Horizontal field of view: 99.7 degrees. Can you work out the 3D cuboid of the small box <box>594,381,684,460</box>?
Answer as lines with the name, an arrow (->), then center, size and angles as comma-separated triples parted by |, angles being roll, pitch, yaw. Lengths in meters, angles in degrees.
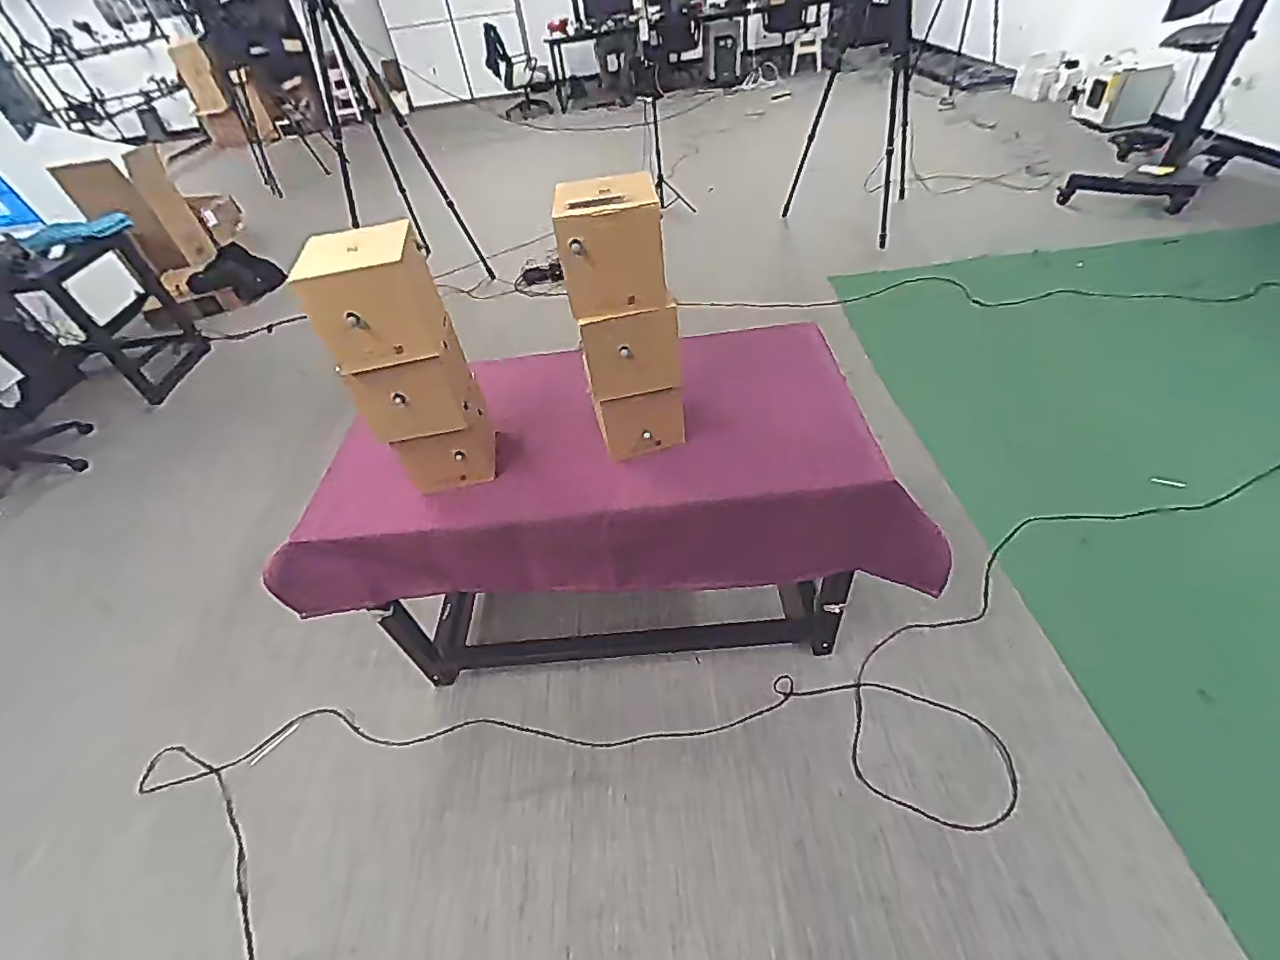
small box -> -0.009, -0.172, 1.162 | 0.168, 0.176, 0.179 | -16, 45, -5

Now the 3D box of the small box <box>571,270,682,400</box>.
small box -> -0.025, -0.274, 1.032 | 0.179, 0.176, 0.168 | -12, 45, -2

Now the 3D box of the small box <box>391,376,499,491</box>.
small box -> -0.407, -0.093, 1.159 | 0.168, 0.176, 0.179 | -11, 44, -2

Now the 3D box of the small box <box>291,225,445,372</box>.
small box -> -0.437, -0.297, 0.904 | 0.168, 0.176, 0.179 | -14, 44, -5

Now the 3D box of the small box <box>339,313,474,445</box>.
small box -> -0.427, -0.190, 1.026 | 0.179, 0.176, 0.168 | -11, 45, -1
